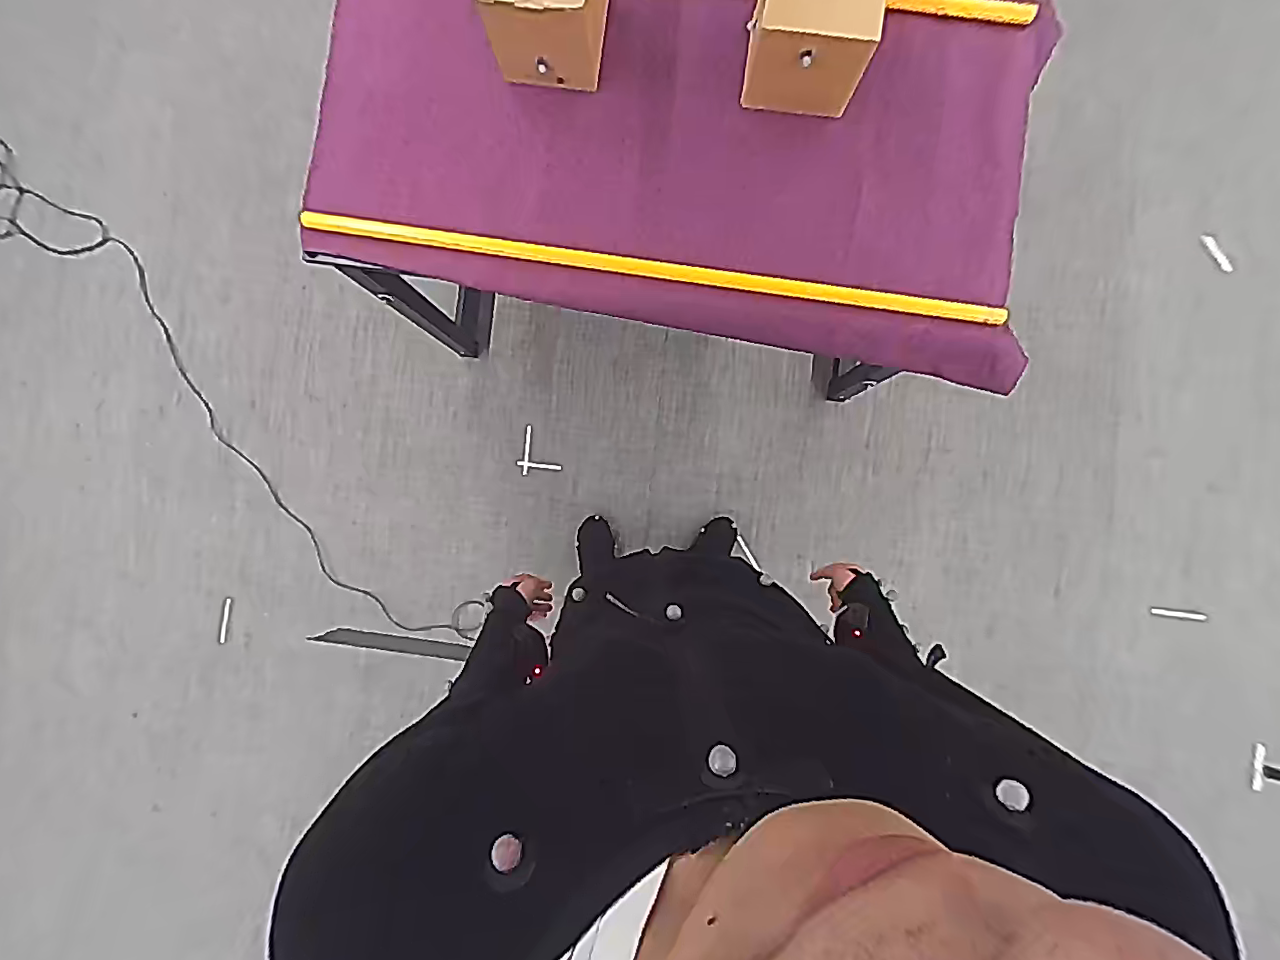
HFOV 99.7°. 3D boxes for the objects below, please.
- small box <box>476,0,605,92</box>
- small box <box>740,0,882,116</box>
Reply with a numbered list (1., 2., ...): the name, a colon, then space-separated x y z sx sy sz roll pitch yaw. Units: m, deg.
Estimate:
1. small box: -0.151 -0.776 0.868 0.168 0.176 0.179 8 90 2
2. small box: 0.268 -0.717 0.857 0.179 0.176 0.168 8 90 2
